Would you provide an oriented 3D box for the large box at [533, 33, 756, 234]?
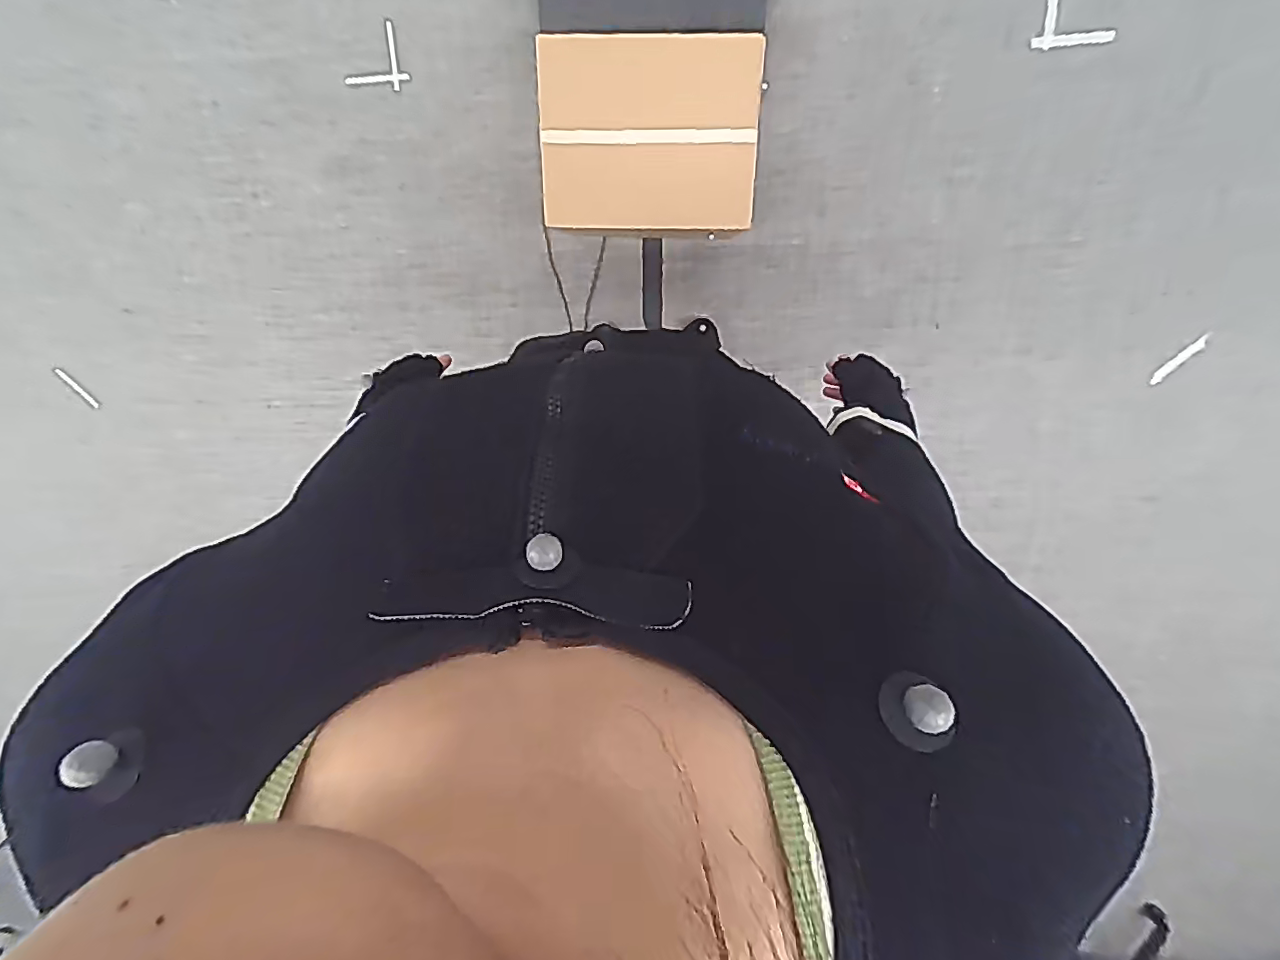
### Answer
[{"bbox_3d":[0.014,-0.695,1.145,0.408,0.320,0.320,1,111,2],"label":"large box"}]

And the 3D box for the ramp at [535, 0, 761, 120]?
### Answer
[{"bbox_3d":[0.012,-1.261,1.046,0.509,0.206,0.991,-2,107,2],"label":"ramp"}]
